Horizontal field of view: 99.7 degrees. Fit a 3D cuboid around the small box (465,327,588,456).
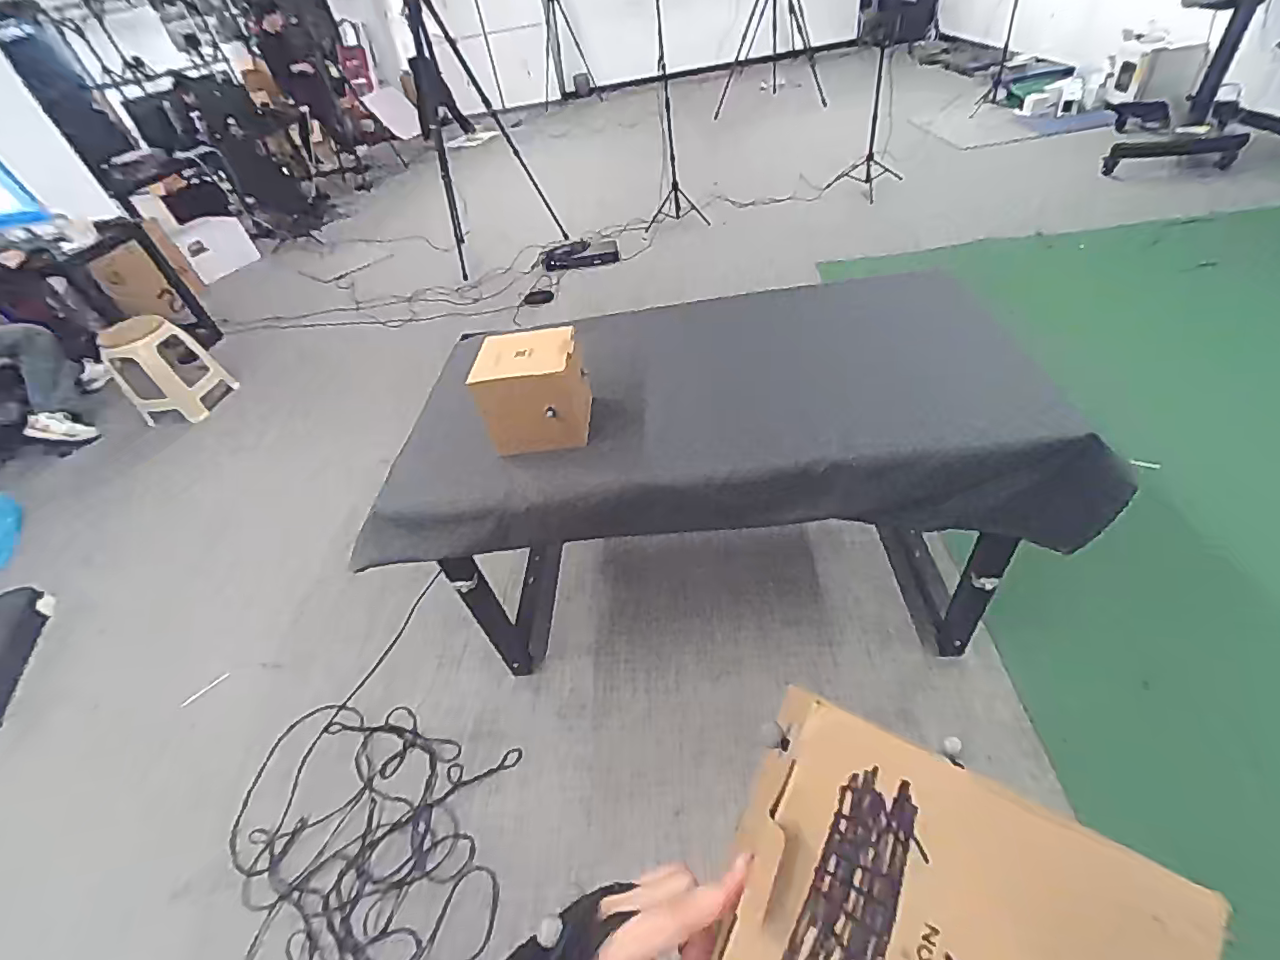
[{"bbox_3d":[-0.199,-0.164,1.017,0.179,0.176,0.168,-7,42,6],"label":"small box"}]
